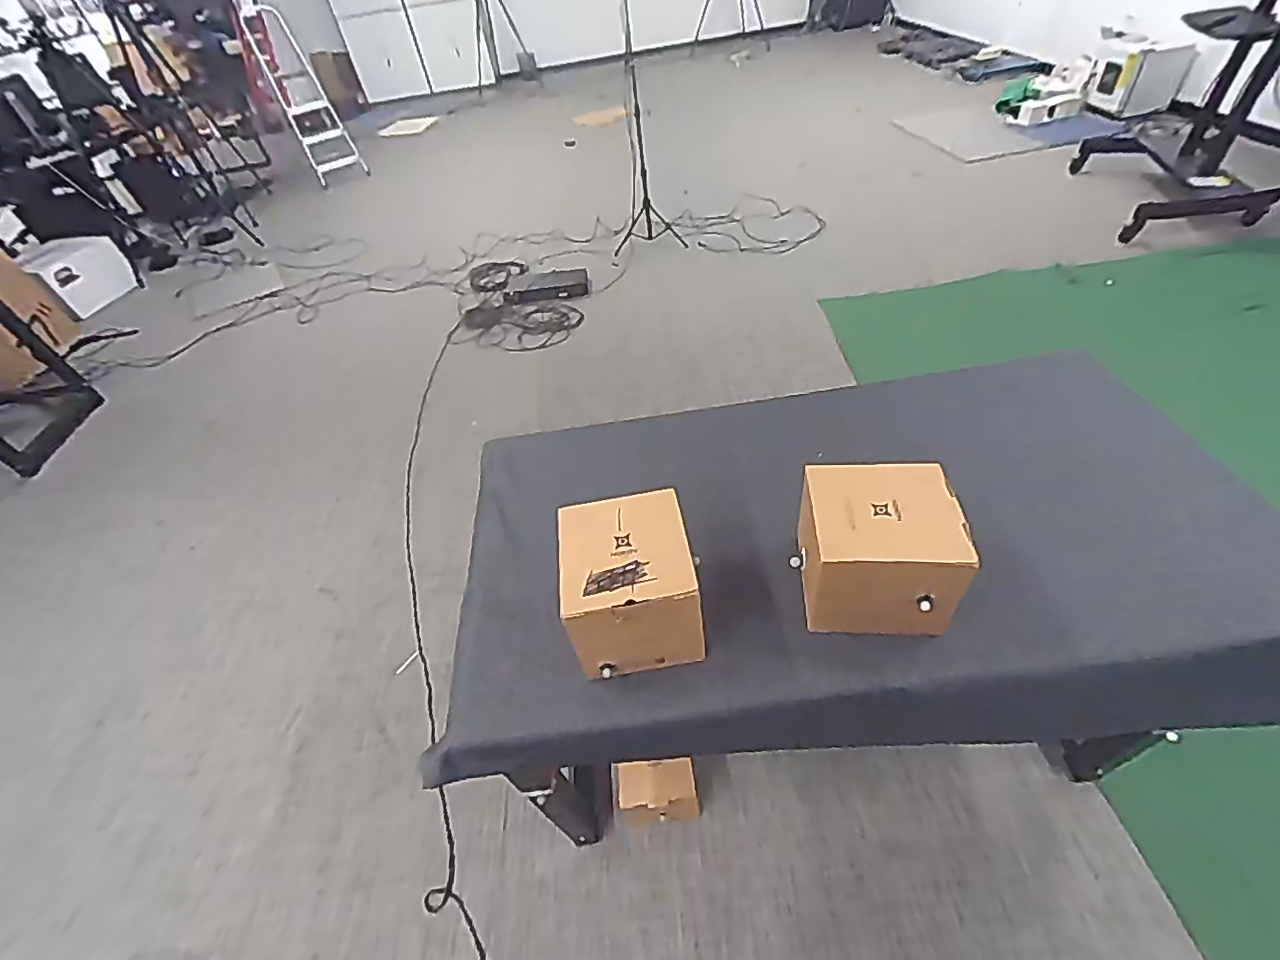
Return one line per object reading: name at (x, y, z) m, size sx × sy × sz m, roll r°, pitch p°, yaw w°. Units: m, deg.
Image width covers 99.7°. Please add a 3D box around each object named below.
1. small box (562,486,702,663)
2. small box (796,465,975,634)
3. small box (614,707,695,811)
small box at (-0.010, 0.137, 0.749) m, size 0.168 × 0.176 × 0.179 m, roll -9°, pitch 45°, yaw 0°
small box at (0.317, 0.097, 0.741) m, size 0.179 × 0.176 × 0.168 m, roll -1°, pitch 46°, yaw 9°
small box at (0.035, 0.657, 1.264) m, size 0.168 × 0.176 × 0.179 m, roll -8°, pitch 47°, yaw 1°
